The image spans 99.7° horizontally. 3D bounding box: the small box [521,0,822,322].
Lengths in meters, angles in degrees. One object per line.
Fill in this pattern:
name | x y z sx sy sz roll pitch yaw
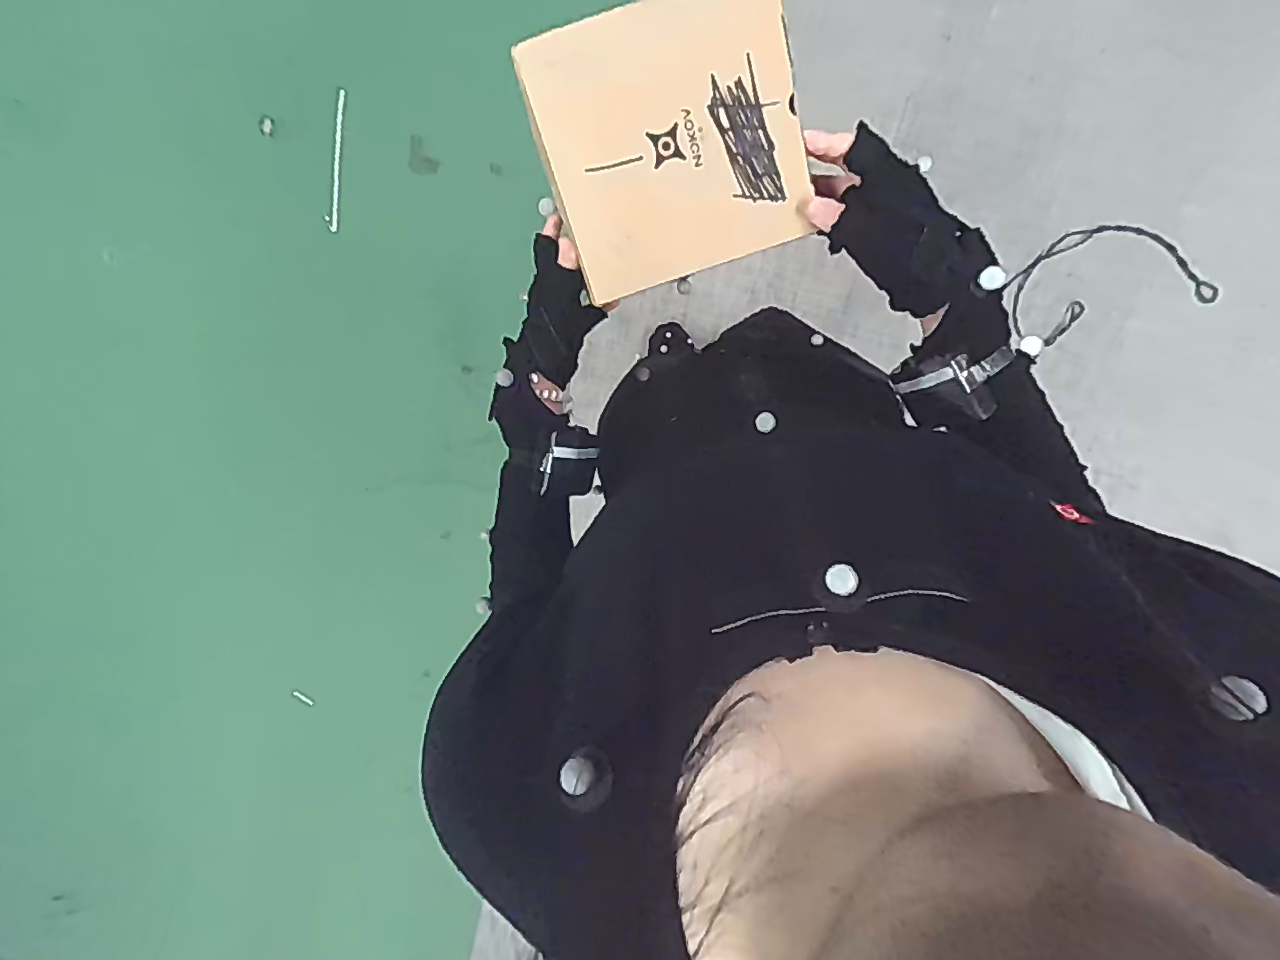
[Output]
small box | 0.019 -0.238 0.439 0.179 0.176 0.168 -18 109 0
